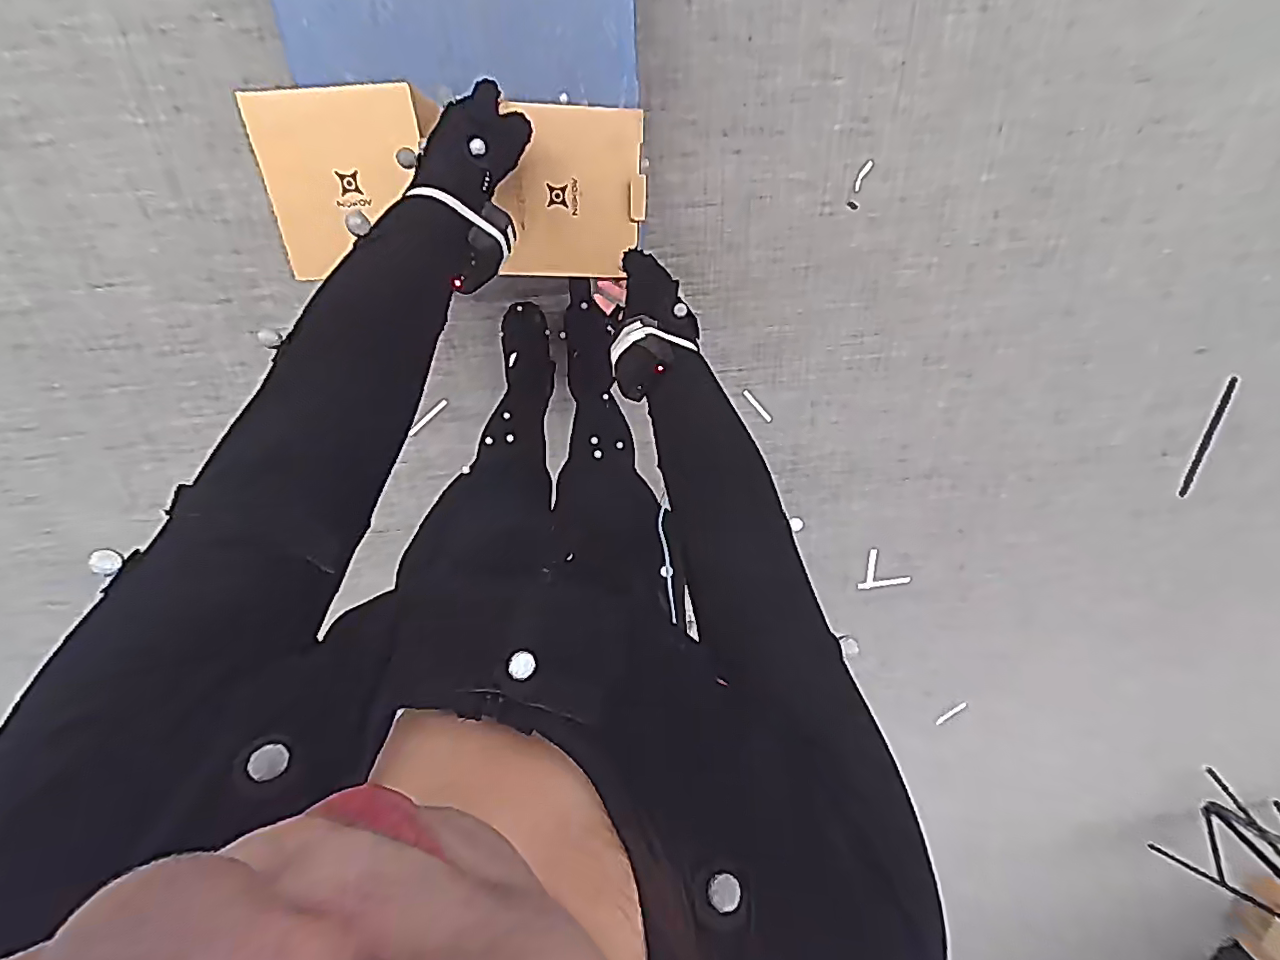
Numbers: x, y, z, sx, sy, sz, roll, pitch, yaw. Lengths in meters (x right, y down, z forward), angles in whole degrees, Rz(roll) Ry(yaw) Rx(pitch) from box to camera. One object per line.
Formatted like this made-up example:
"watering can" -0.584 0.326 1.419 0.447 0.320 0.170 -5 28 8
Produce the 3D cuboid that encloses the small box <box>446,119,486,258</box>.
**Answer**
"small box" -0.330 -0.414 0.778 0.168 0.176 0.179 -8 119 -3

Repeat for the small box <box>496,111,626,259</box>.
"small box" -0.110 -0.427 0.795 0.168 0.176 0.179 -3 118 -4

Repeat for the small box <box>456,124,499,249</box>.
"small box" -0.345 -0.492 0.922 0.168 0.176 0.179 -6 118 -4

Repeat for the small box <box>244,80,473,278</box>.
"small box" -0.305 -0.342 0.633 0.168 0.176 0.179 -6 118 -3
